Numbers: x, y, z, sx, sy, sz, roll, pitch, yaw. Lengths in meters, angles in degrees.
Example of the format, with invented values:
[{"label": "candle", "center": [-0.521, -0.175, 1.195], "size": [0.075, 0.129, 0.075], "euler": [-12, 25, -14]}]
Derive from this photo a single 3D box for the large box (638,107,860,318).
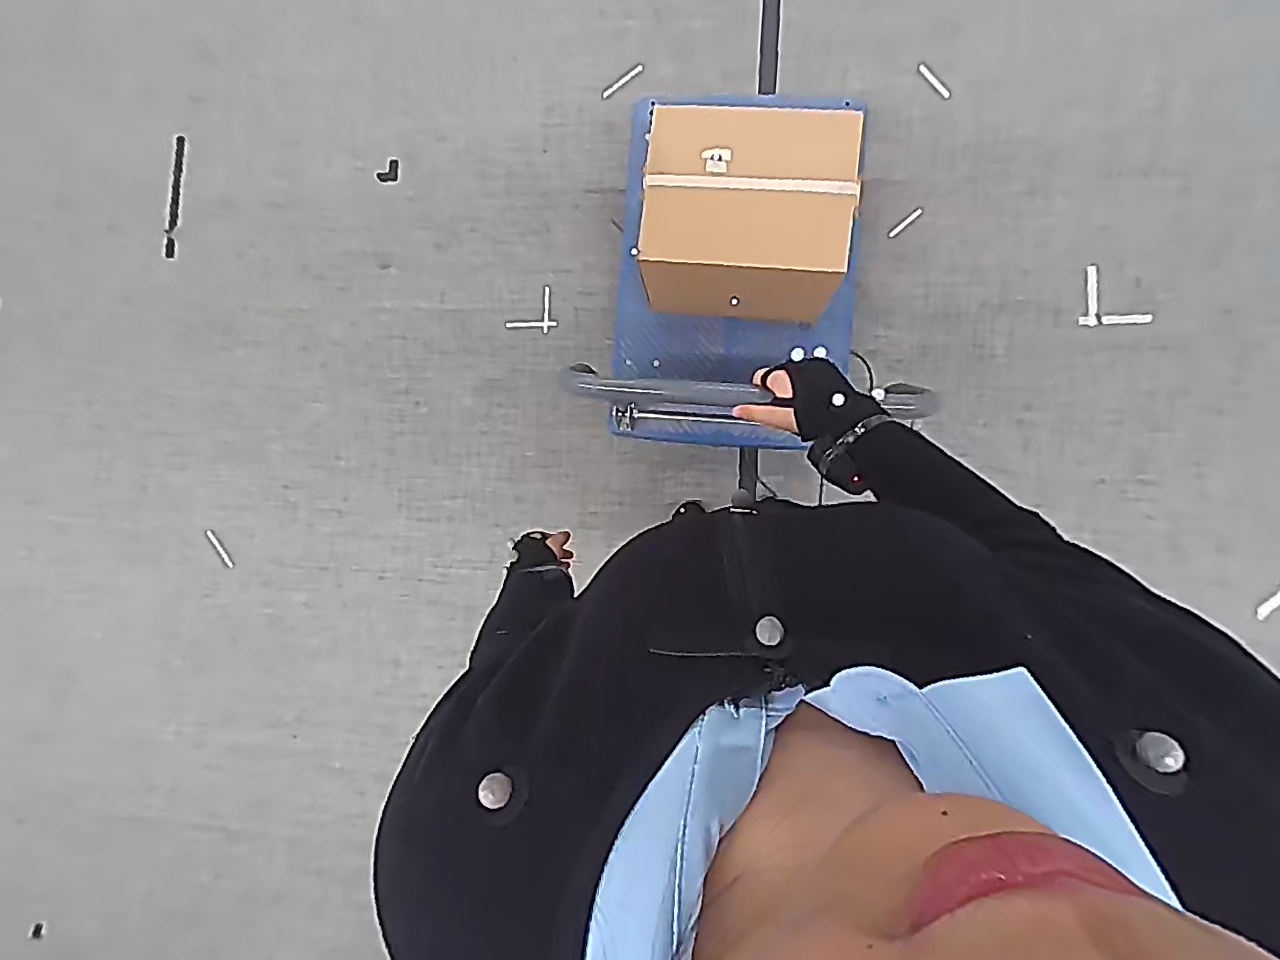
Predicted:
[{"label": "large box", "center": [0.227, -0.557, 1.180], "size": [0.408, 0.320, 0.320], "euler": [6, 88, 8]}]
